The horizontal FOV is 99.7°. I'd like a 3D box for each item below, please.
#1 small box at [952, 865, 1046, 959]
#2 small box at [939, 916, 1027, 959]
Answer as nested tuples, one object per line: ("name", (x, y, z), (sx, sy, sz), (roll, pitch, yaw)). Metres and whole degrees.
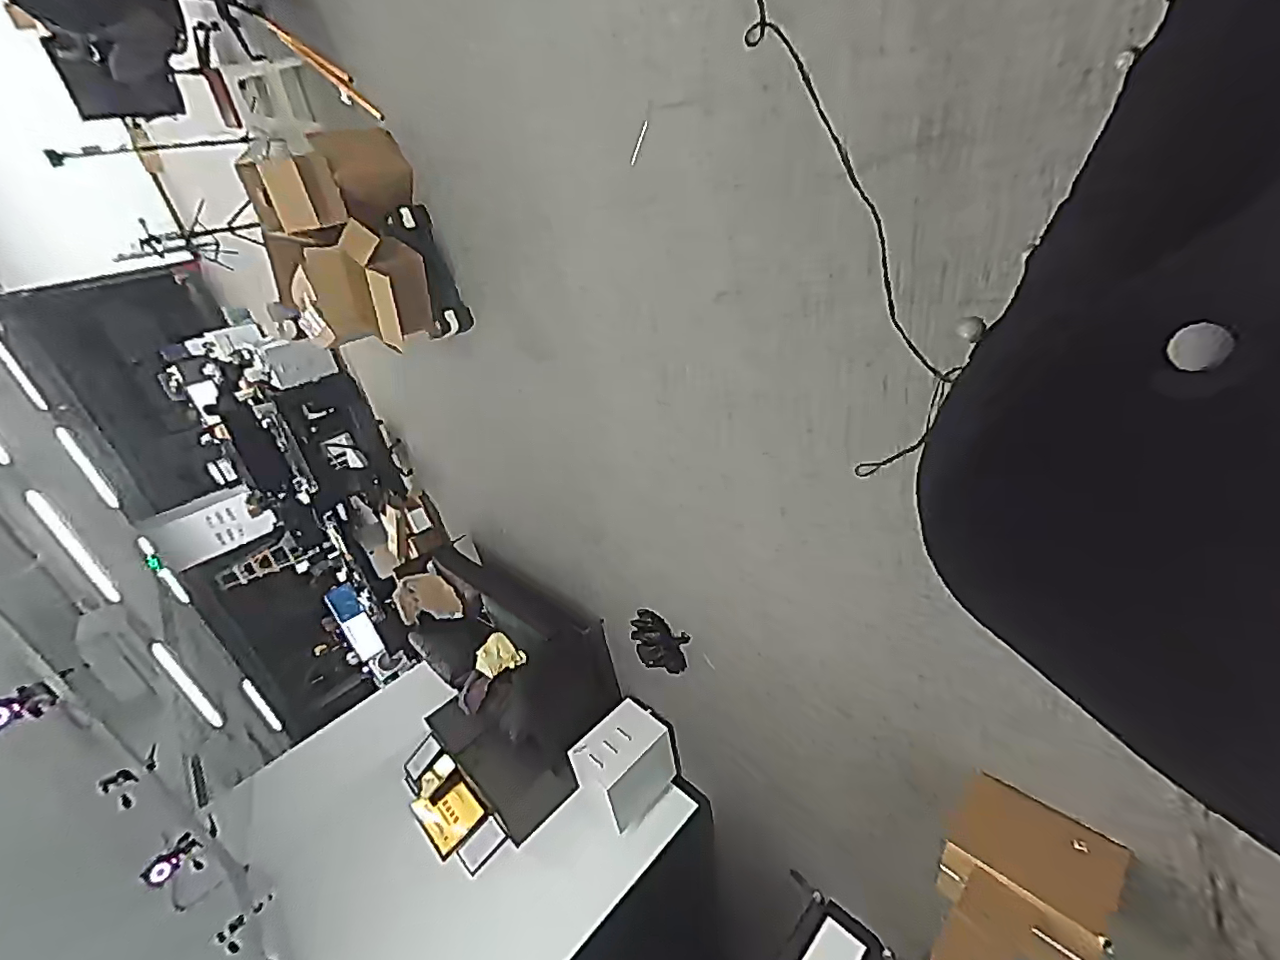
("small box", (1.070, 1.310, 1.612), (0.179, 0.176, 0.168), (25, 133, 41))
("small box", (0.954, 1.383, 1.522), (0.179, 0.176, 0.168), (22, 131, 39))
